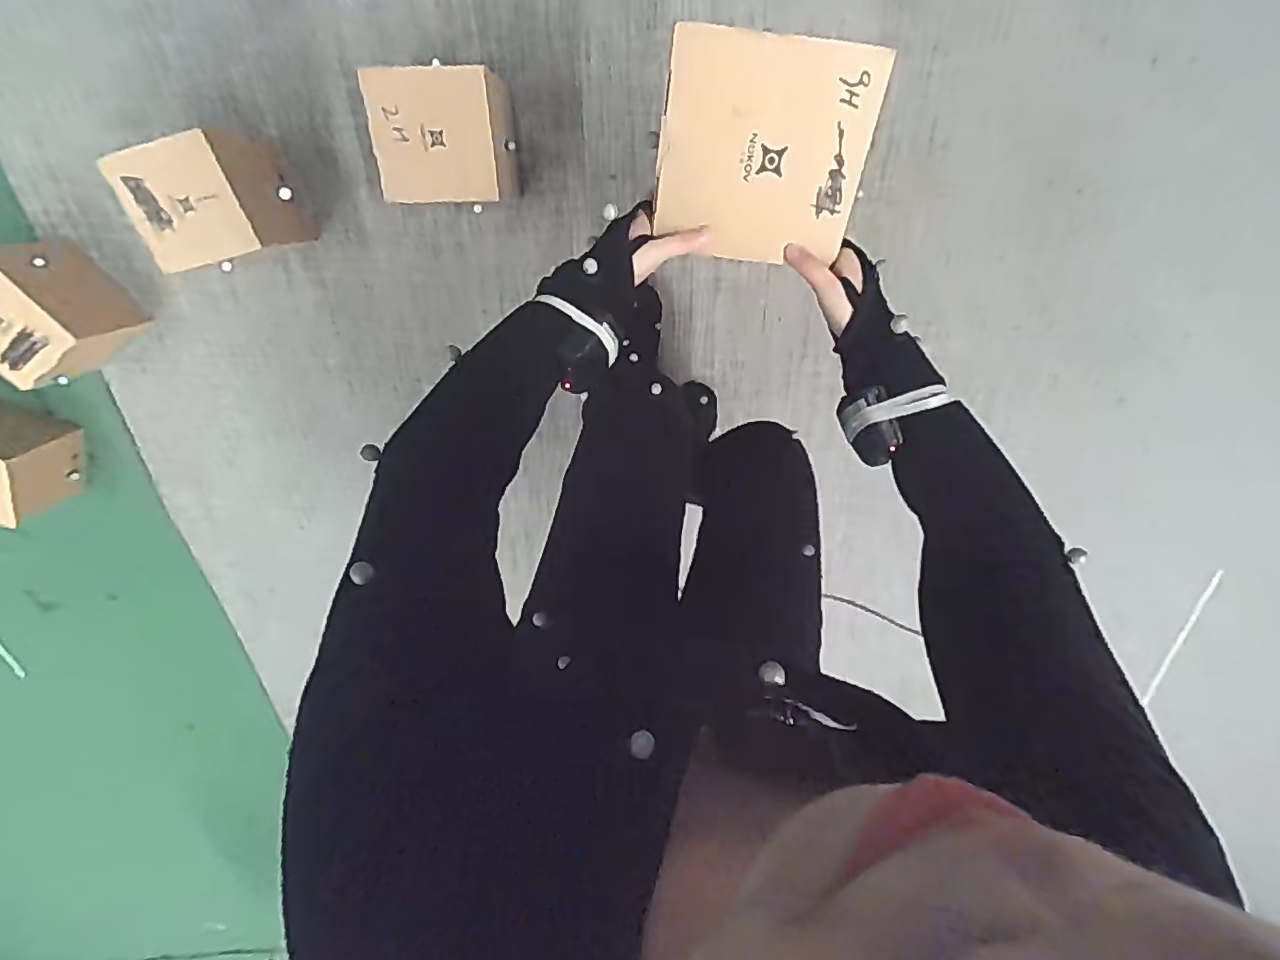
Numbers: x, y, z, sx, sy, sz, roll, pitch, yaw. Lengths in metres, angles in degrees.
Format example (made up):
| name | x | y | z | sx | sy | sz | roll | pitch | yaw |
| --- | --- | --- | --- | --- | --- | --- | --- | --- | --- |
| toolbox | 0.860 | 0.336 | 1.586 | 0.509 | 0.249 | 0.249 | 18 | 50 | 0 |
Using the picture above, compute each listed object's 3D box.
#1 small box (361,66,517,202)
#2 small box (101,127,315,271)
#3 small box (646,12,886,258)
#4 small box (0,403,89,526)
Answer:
| name | x | y | z | sx | sy | sz | roll | pitch | yaw |
| --- | --- | --- | --- | --- | --- | --- | --- | --- | --- |
| small box | -0.294 | -0.527 | 0.840 | 0.179 | 0.176 | 0.168 | -1 | 117 | 0 |
| small box | -0.683 | -0.451 | 0.880 | 0.179 | 0.176 | 0.168 | -12 | 117 | 5 |
| small box | 0.105 | -0.330 | 0.533 | 0.179 | 0.176 | 0.168 | 7 | 124 | 0 |
| small box | -1.292 | -0.039 | 1.100 | 0.179 | 0.176 | 0.168 | 21 | 116 | -10 |
